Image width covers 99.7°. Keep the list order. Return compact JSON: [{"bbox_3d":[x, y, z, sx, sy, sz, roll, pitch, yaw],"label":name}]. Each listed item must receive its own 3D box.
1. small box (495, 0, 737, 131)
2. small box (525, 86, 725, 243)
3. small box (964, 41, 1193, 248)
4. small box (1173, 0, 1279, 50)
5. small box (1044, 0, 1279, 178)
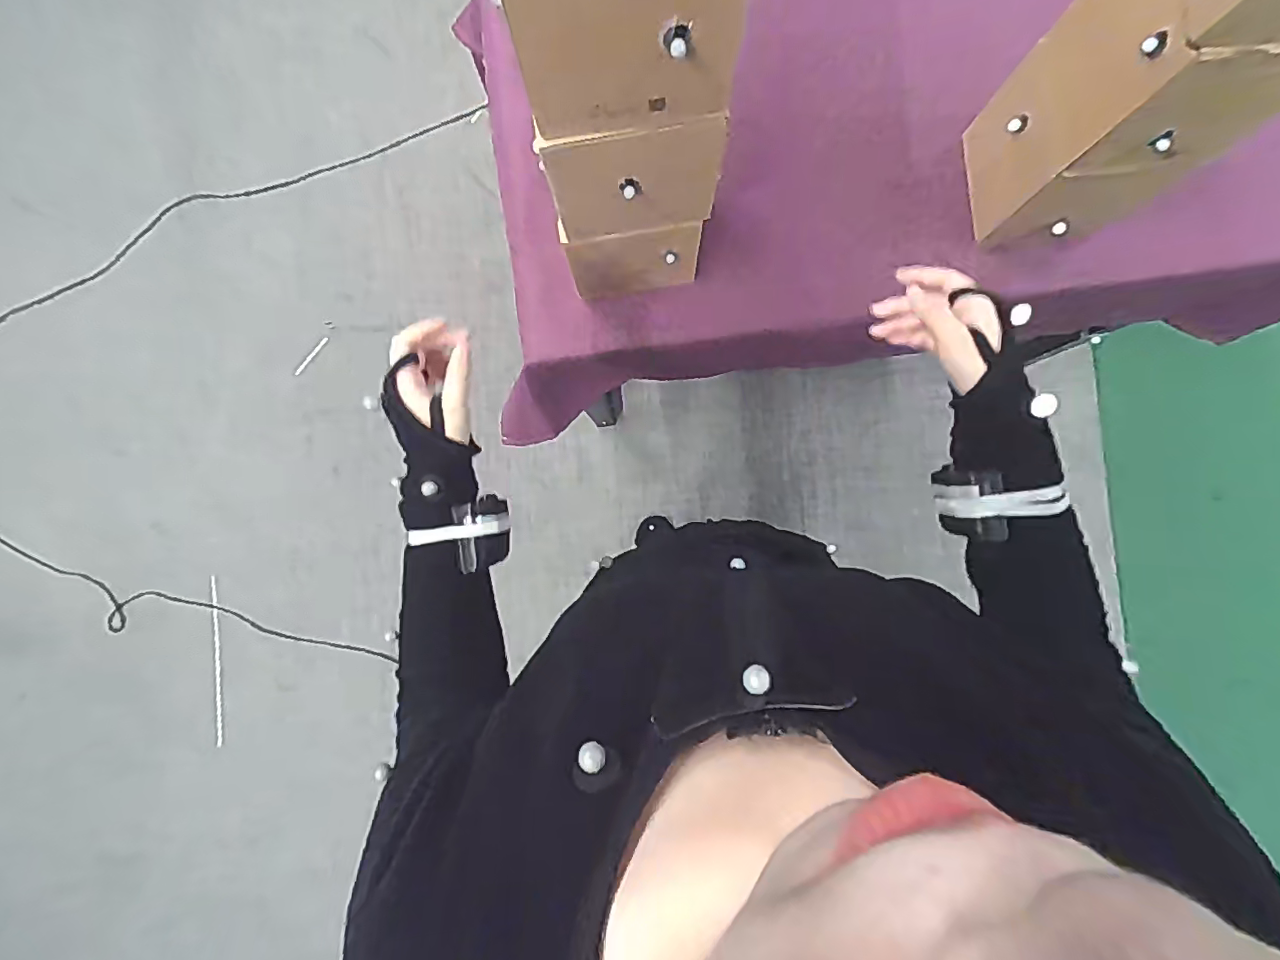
[{"bbox_3d":[-0.018,-0.396,0.407,0.168,0.176,0.179,-6,85,0],"label":"small box"},{"bbox_3d":[-0.019,-0.377,0.569,0.179,0.176,0.168,-9,86,2],"label":"small box"},{"bbox_3d":[0.558,-0.435,0.714,0.168,0.176,0.179,-4,86,3],"label":"small box"},{"bbox_3d":[0.546,-0.454,0.388,0.179,0.176,0.168,-2,86,1],"label":"small box"},{"bbox_3d":[0.554,-0.446,0.552,0.168,0.176,0.179,-4,87,2],"label":"small box"}]
